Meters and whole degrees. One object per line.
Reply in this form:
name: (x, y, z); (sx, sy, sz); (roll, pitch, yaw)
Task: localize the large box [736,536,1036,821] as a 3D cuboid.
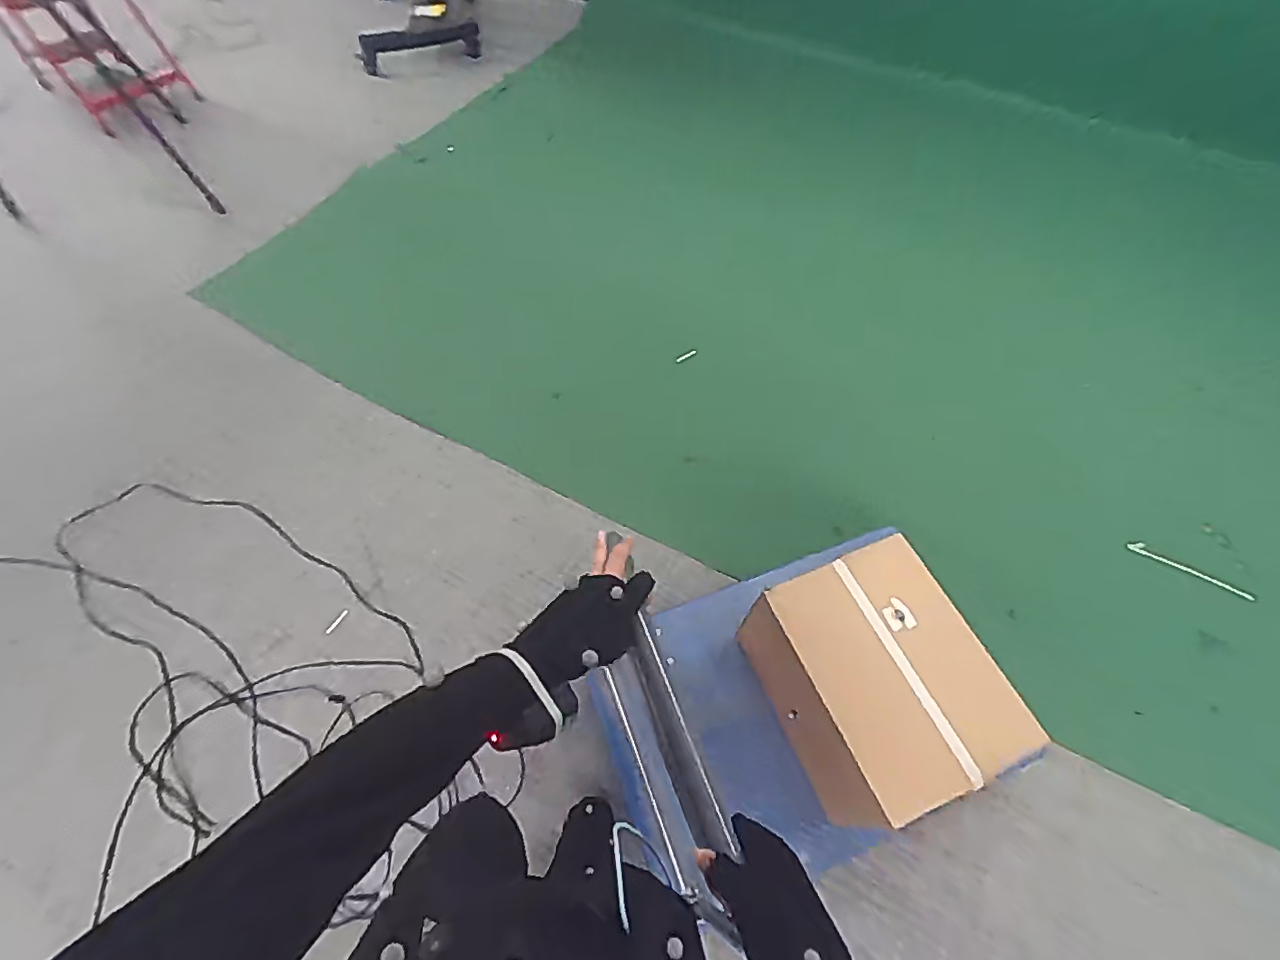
large box: (0.438, 0.392, 1.076); (0.320, 0.320, 0.408); (-20, 61, -13)
